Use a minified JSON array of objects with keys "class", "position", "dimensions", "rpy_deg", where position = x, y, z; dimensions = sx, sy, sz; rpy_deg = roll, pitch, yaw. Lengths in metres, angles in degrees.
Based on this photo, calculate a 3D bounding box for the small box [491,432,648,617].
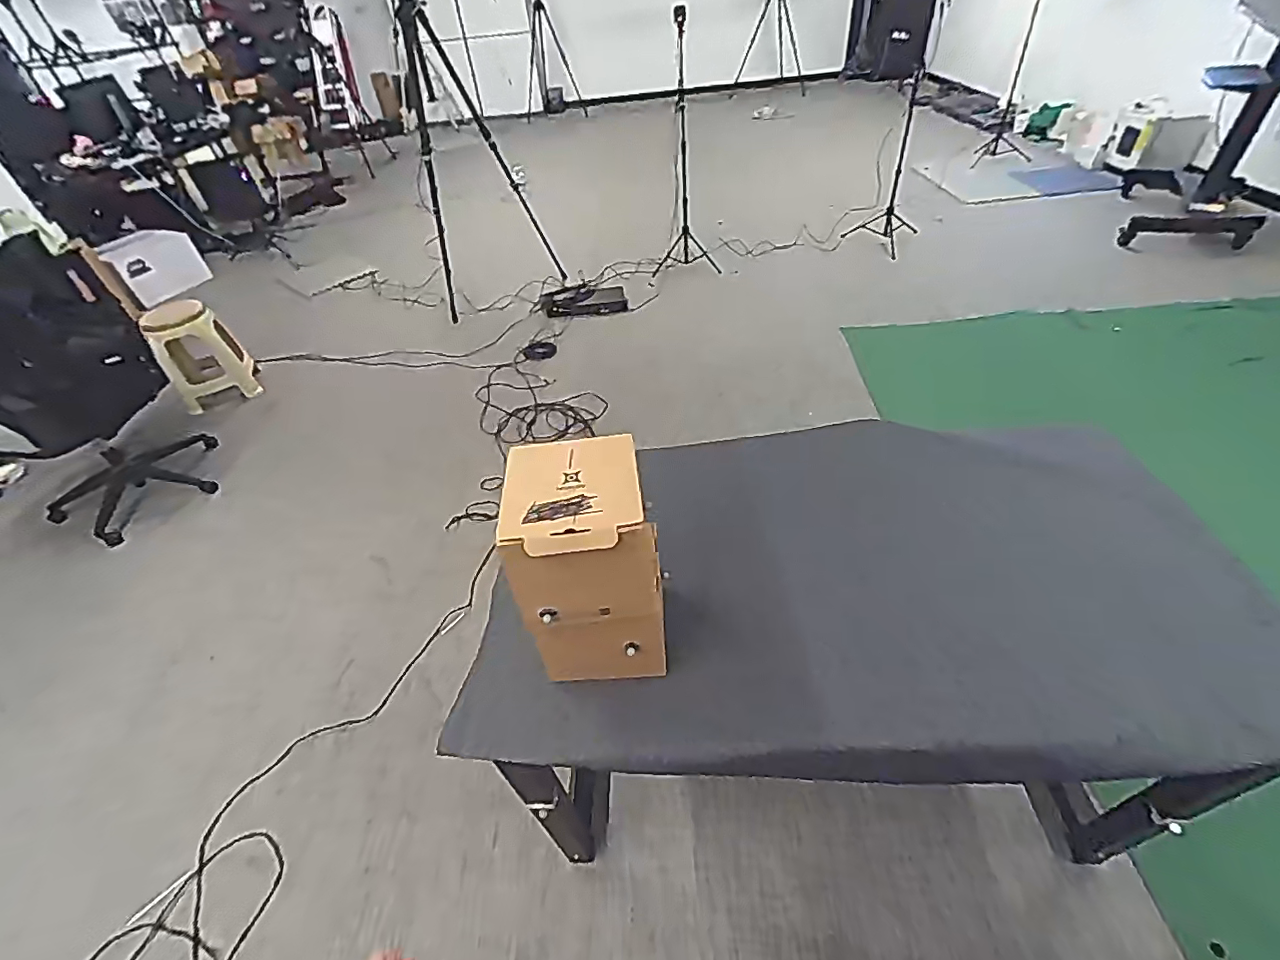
[{"class":"small box","position":[-0.082,0.063,0.702],"dimensions":[0.168,0.176,0.179],"rpy_deg":[-7,41,-1]}]

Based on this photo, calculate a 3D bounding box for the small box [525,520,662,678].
[{"class":"small box","position":[-0.058,0.181,0.815],"dimensions":[0.179,0.176,0.168],"rpy_deg":[-5,42,3]}]
